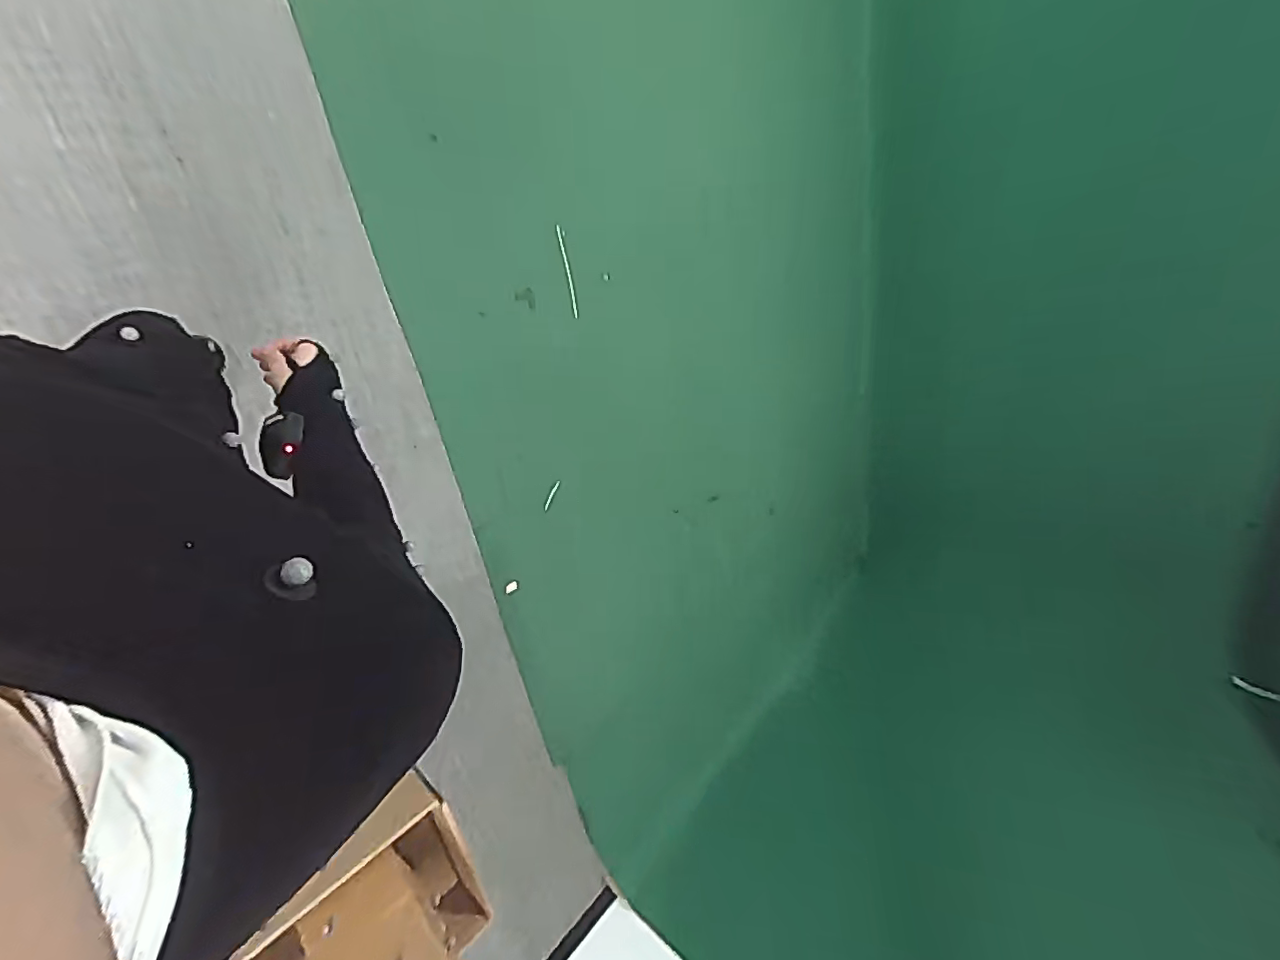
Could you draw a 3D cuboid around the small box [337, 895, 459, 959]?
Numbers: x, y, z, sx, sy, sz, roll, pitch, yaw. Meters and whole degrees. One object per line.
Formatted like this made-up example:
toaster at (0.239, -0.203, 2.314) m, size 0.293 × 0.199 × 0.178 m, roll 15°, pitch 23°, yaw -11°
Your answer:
small box at (-0.406, 0.870, 0.919) m, size 0.179 × 0.176 × 0.168 m, roll -34°, pitch 124°, yaw -34°
